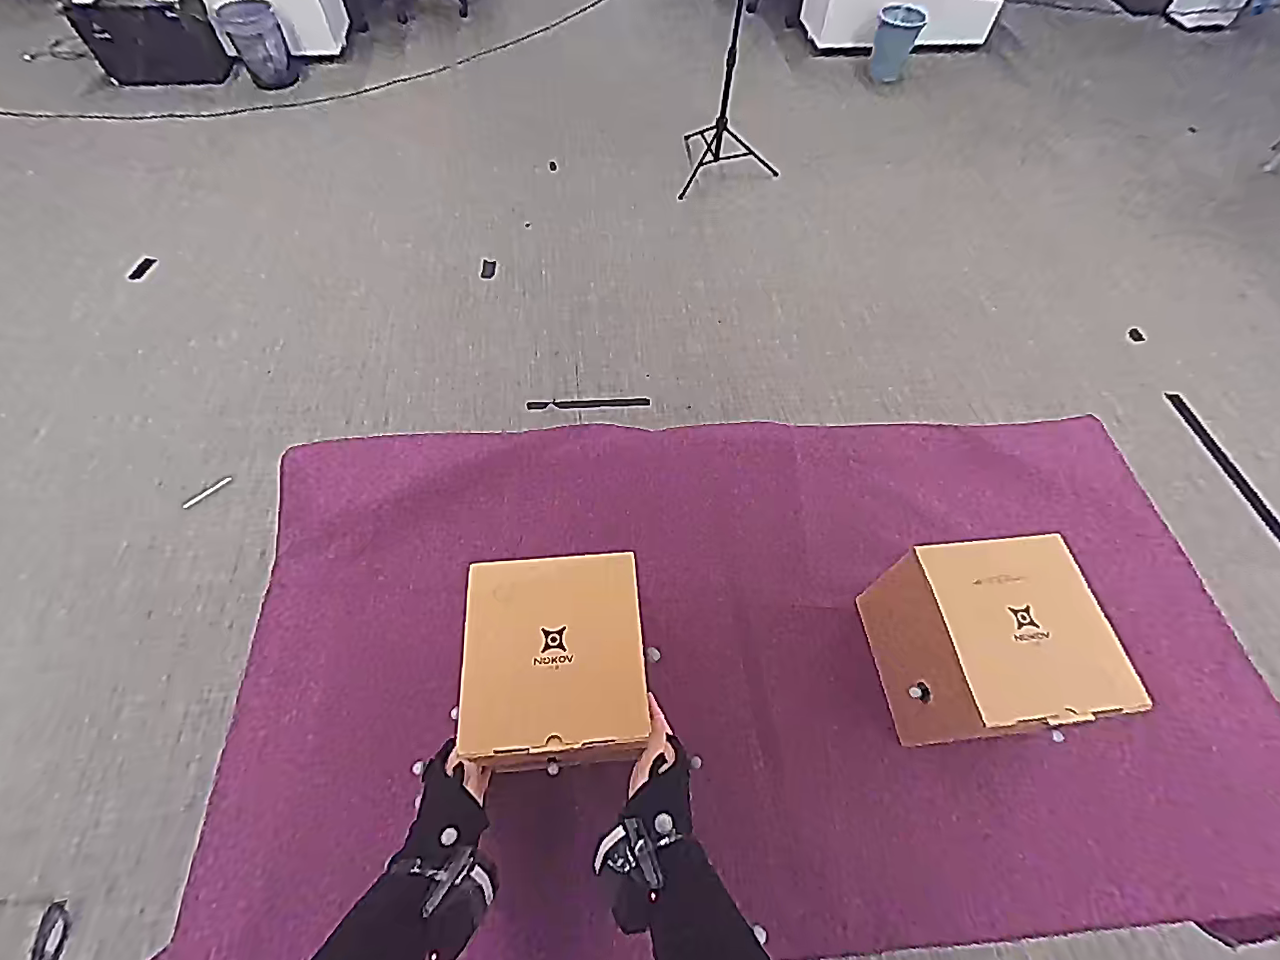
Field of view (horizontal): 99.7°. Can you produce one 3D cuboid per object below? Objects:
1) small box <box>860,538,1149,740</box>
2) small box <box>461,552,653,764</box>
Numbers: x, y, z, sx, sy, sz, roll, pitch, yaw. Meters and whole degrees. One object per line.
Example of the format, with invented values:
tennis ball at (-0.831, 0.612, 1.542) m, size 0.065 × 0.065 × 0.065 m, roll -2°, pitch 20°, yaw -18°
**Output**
small box at (0.369, 0.181, 0.591) m, size 0.168 × 0.176 × 0.179 m, roll -3°, pitch 59°, yaw -4°
small box at (-0.080, 0.192, 0.570) m, size 0.168 × 0.176 × 0.179 m, roll -3°, pitch 61°, yaw -4°
